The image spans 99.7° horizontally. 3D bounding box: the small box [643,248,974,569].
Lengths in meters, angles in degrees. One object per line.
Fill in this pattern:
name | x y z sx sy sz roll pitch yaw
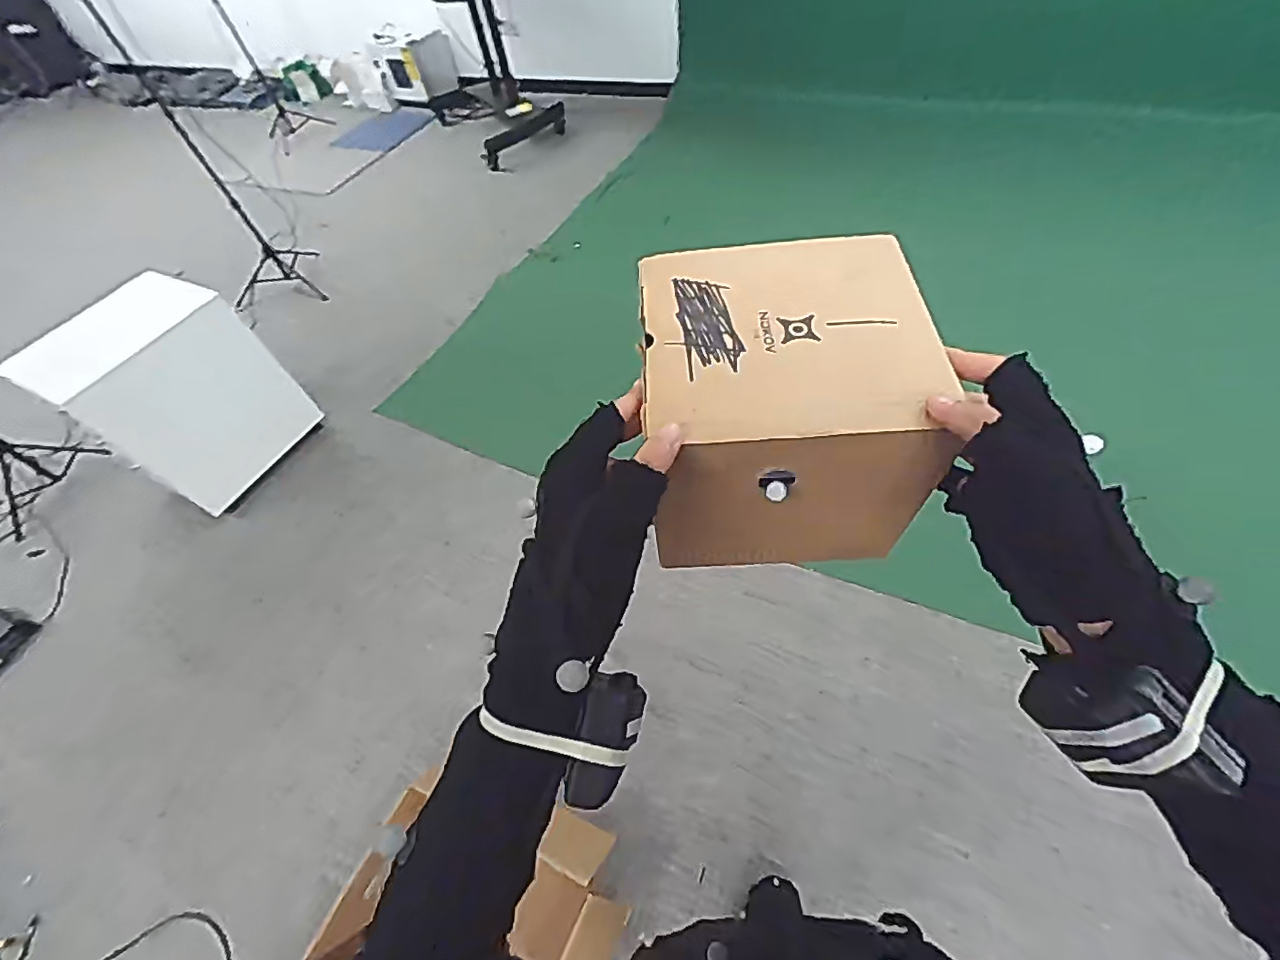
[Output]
small box | 0.096 -0.042 0.397 0.179 0.176 0.168 -3 57 4
